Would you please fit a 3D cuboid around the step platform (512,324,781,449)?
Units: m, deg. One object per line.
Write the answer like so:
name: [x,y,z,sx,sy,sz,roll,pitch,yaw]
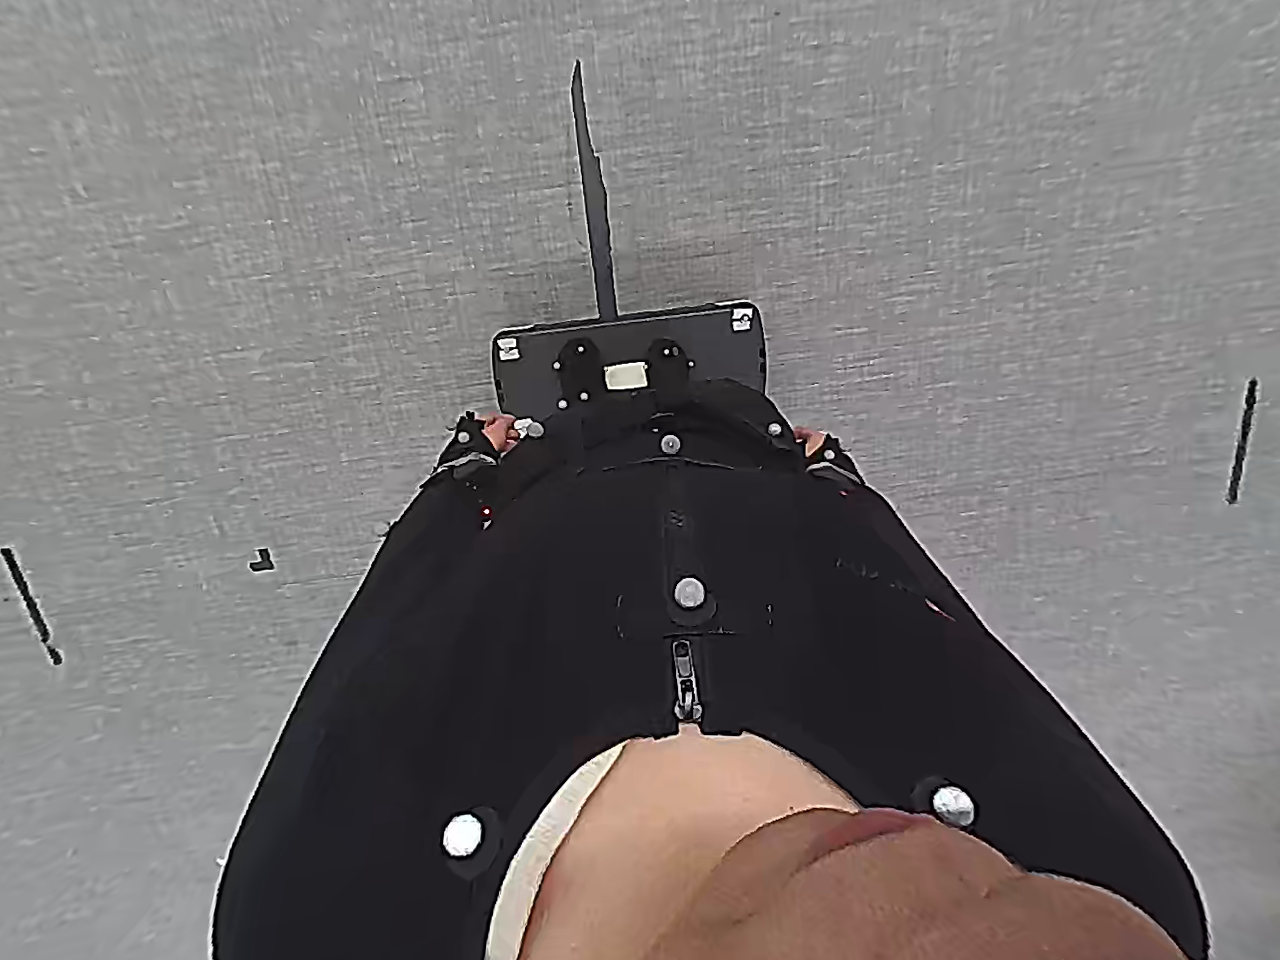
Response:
step platform: [0.016,-0.246,1.411,0.684,0.204,0.286,-3,106,-2]
